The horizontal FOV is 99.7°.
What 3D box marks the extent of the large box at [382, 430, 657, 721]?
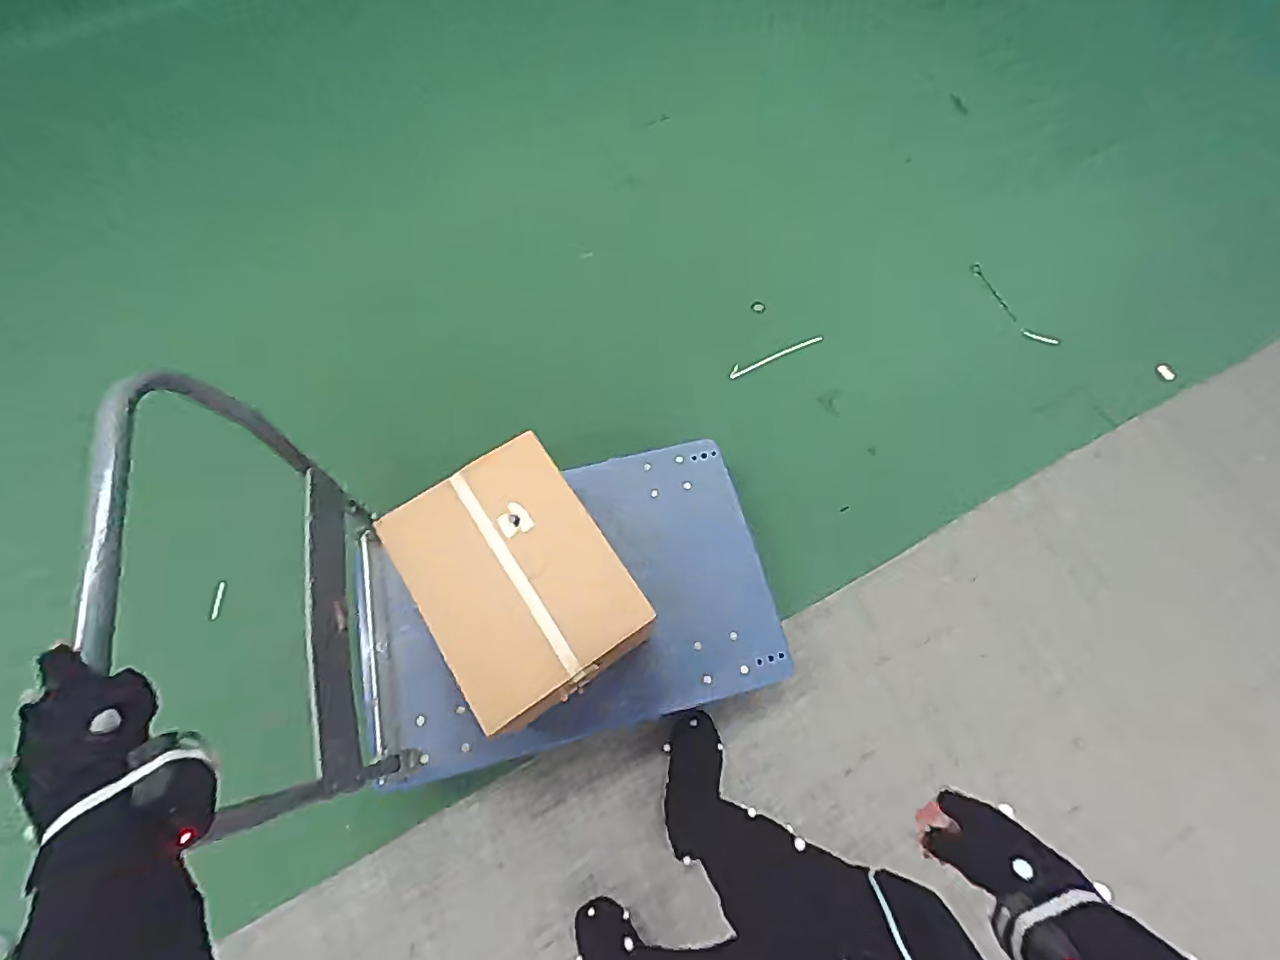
[{"bbox_3d":[-0.206,0.190,1.038,0.320,0.320,0.408,-32,72,-13],"label":"large box"}]
